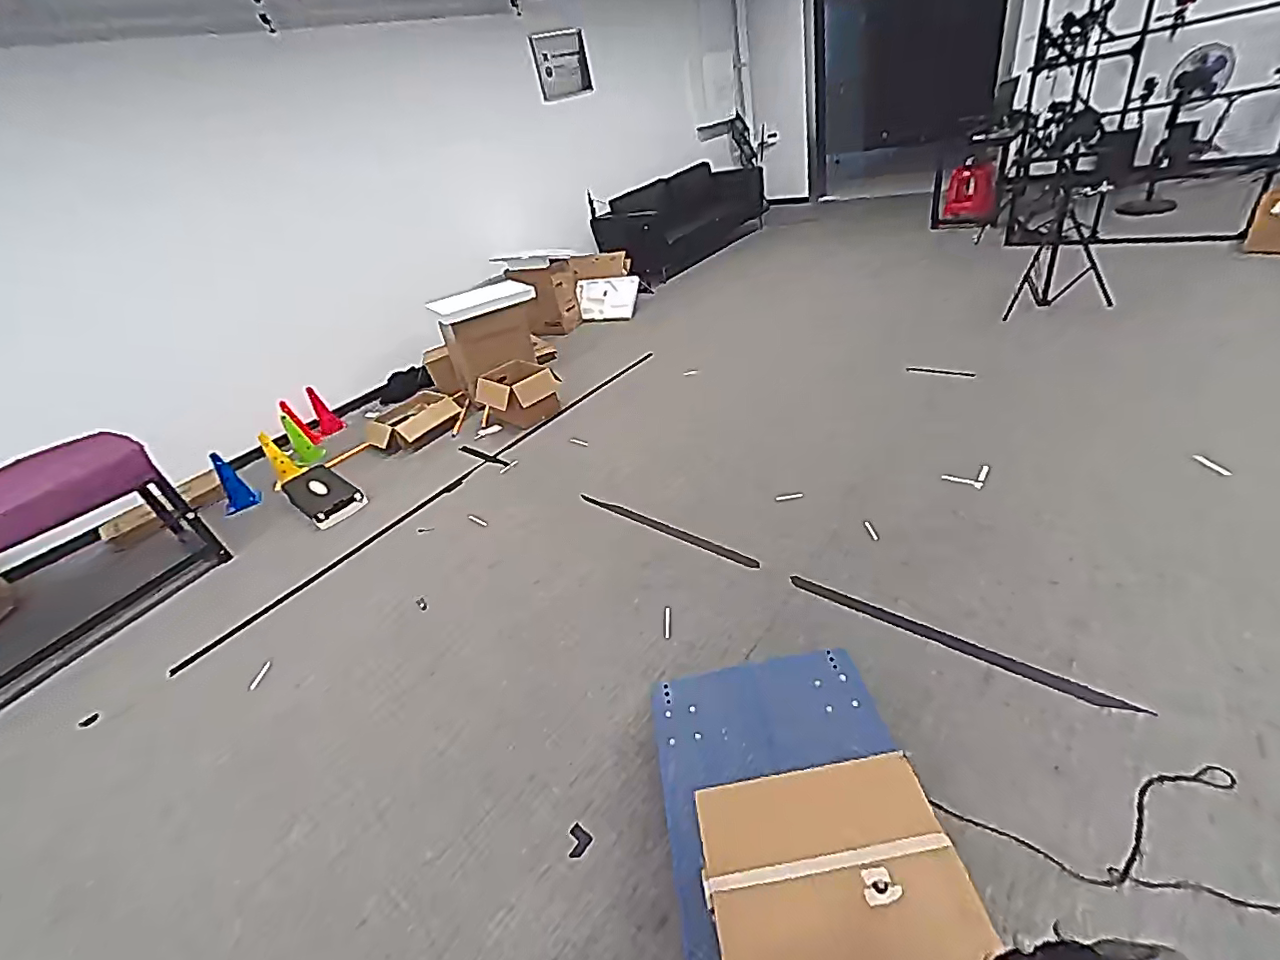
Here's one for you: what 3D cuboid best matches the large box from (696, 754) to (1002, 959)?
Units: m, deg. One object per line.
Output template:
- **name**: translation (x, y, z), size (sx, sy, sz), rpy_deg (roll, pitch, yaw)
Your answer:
- **large box**: translation (0.340, 0.764, 0.983), size (0.408, 0.320, 0.320), rpy_deg (-12, 34, 1)
